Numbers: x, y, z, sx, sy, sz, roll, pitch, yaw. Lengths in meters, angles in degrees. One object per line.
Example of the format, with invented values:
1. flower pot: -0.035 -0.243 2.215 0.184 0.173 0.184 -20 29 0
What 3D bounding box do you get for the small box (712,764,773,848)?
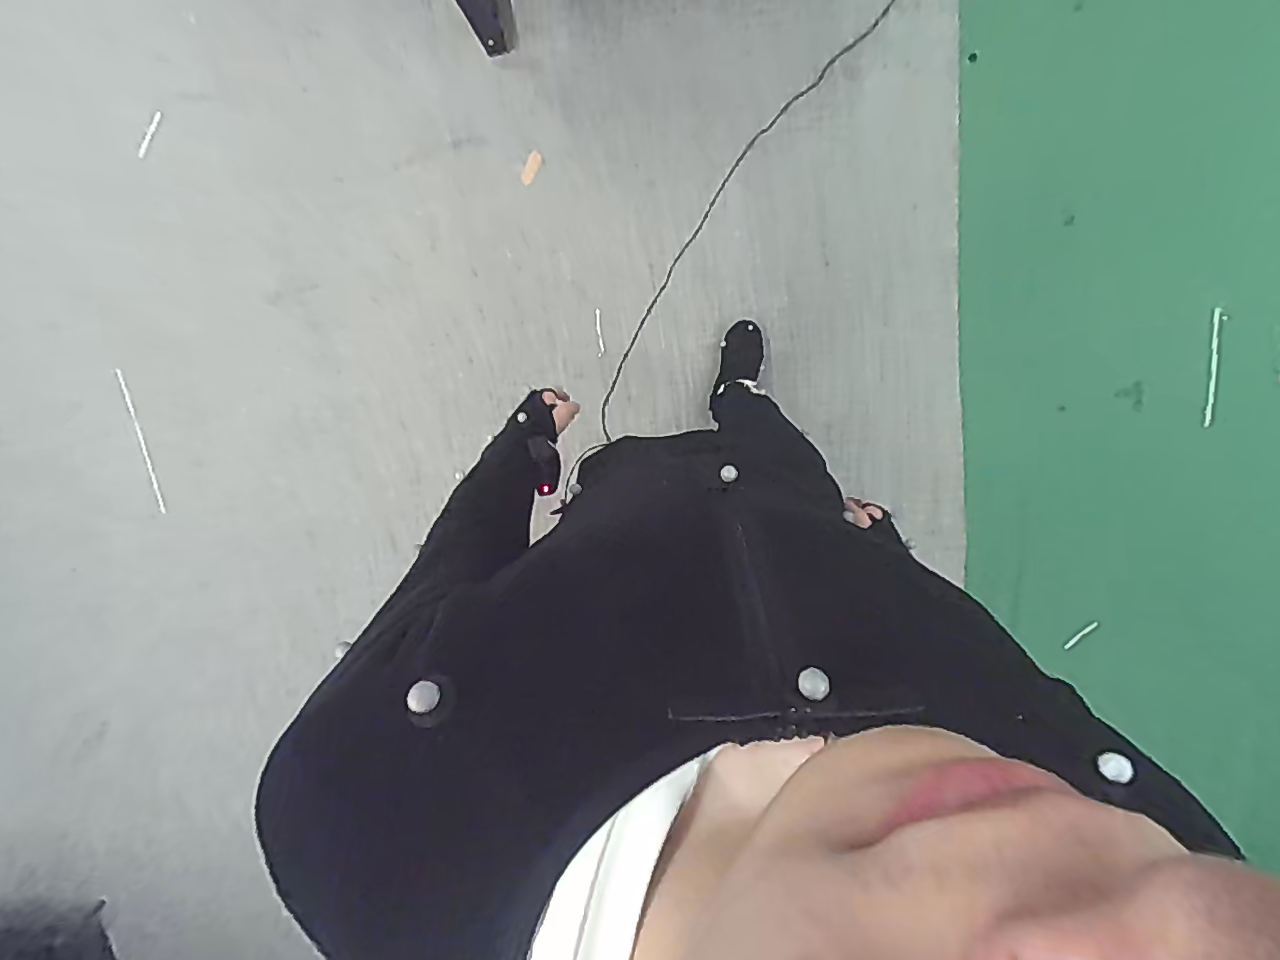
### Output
1. small box: 0.322 1.036 1.727 0.179 0.176 0.168 -4 102 5
